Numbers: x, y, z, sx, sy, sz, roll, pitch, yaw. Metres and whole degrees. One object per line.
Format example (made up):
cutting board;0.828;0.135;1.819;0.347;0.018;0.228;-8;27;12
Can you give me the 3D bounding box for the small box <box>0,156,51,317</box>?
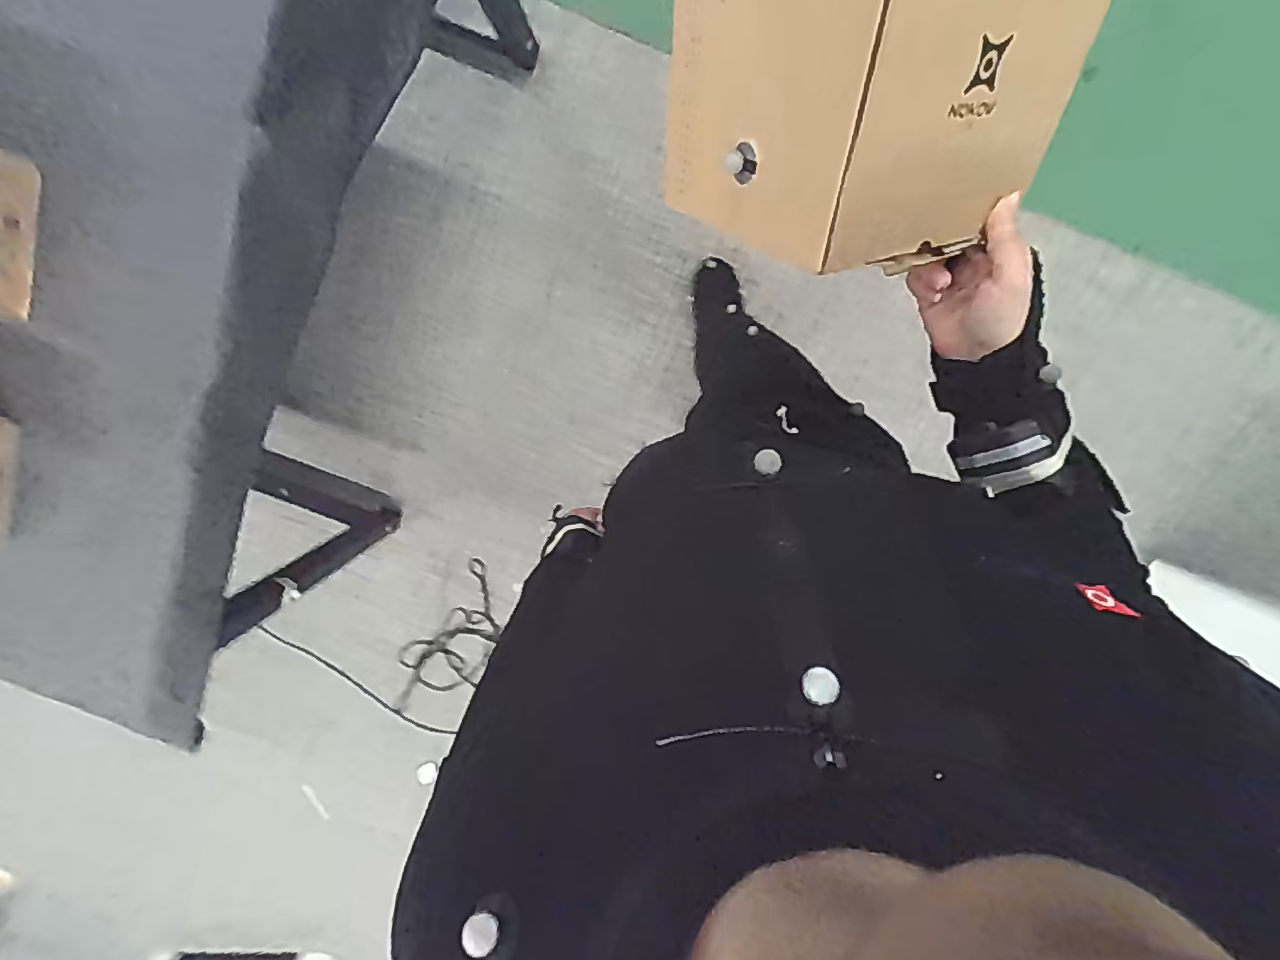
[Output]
small box;-0.736;-0.261;0.508;0.179;0.176;0.168;21;104;-2
